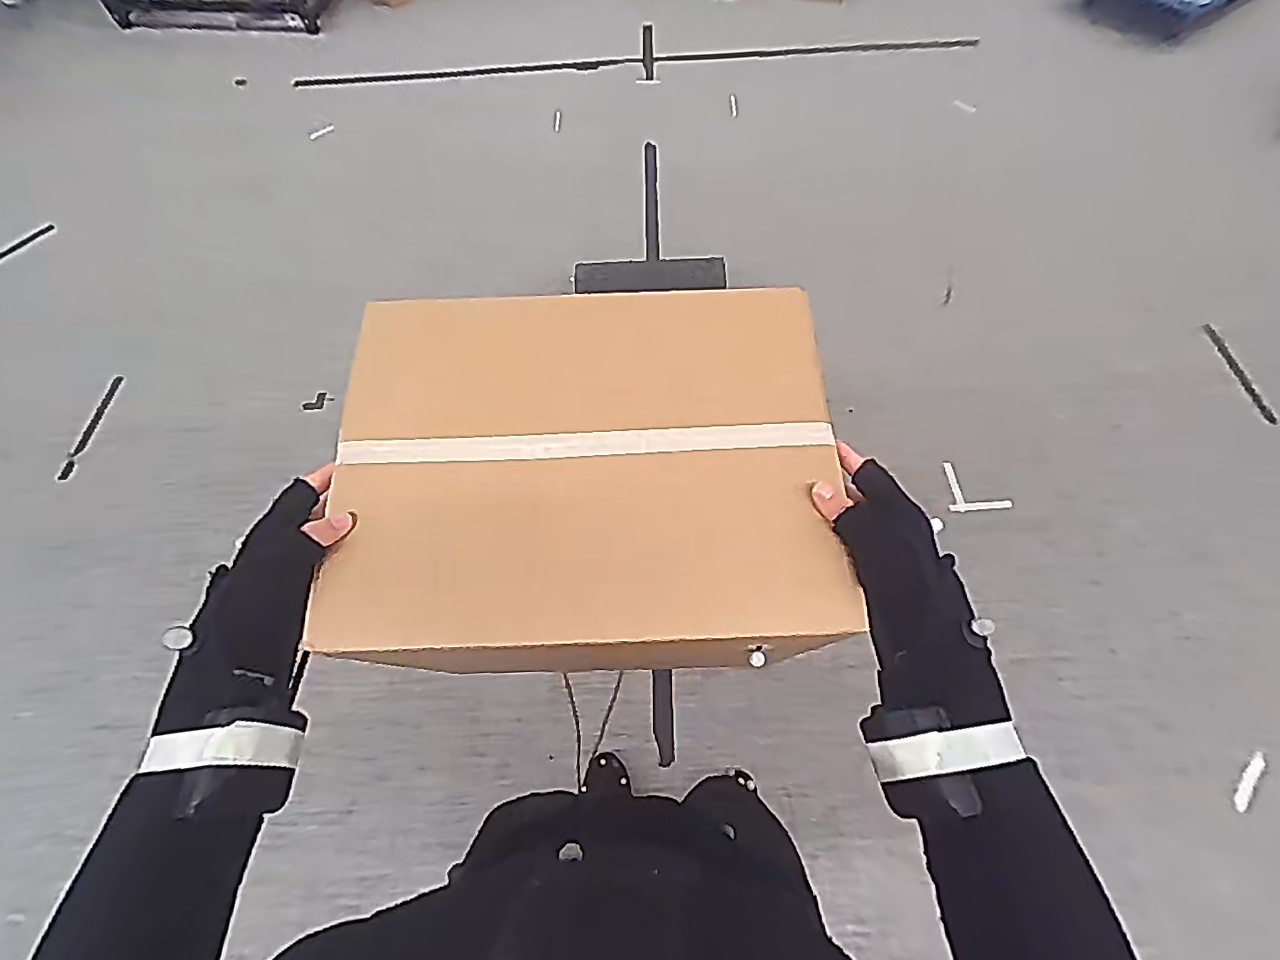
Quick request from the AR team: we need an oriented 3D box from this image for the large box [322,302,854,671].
[{"bbox_3d":[-0.041,0.035,0.592,0.408,0.320,0.320,-2,67,-1],"label":"large box"}]
